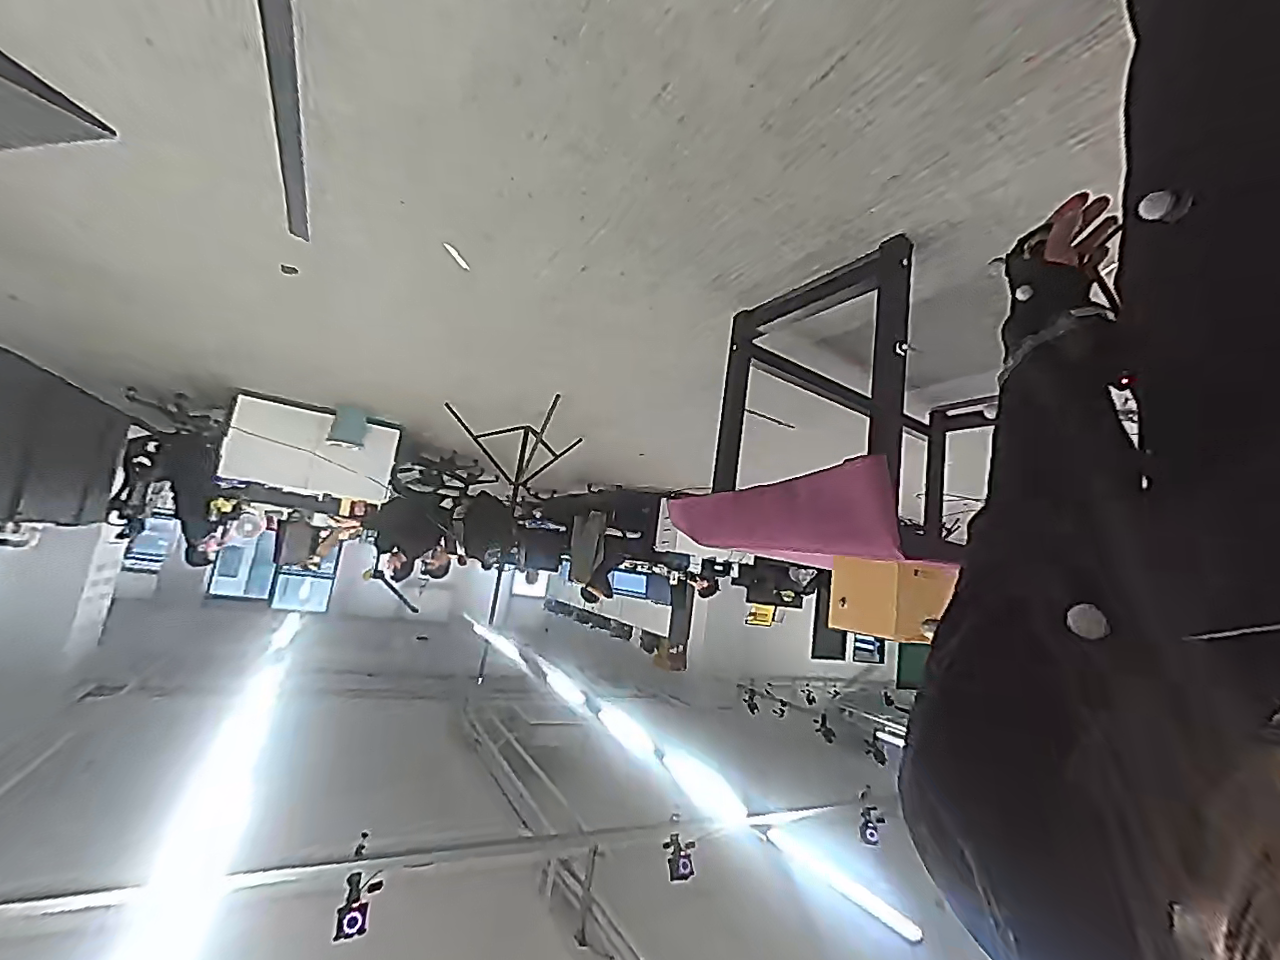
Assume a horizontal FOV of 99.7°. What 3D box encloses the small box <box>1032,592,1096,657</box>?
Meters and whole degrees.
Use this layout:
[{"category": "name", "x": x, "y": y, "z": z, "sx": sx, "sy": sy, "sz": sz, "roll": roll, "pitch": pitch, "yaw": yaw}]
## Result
[{"category": "small box", "x": 1.253, "y": 0.434, "z": 1.648, "sx": 0.168, "sy": 0.176, "sz": 0.179, "roll": 15, "pitch": 169, "yaw": -30}]
